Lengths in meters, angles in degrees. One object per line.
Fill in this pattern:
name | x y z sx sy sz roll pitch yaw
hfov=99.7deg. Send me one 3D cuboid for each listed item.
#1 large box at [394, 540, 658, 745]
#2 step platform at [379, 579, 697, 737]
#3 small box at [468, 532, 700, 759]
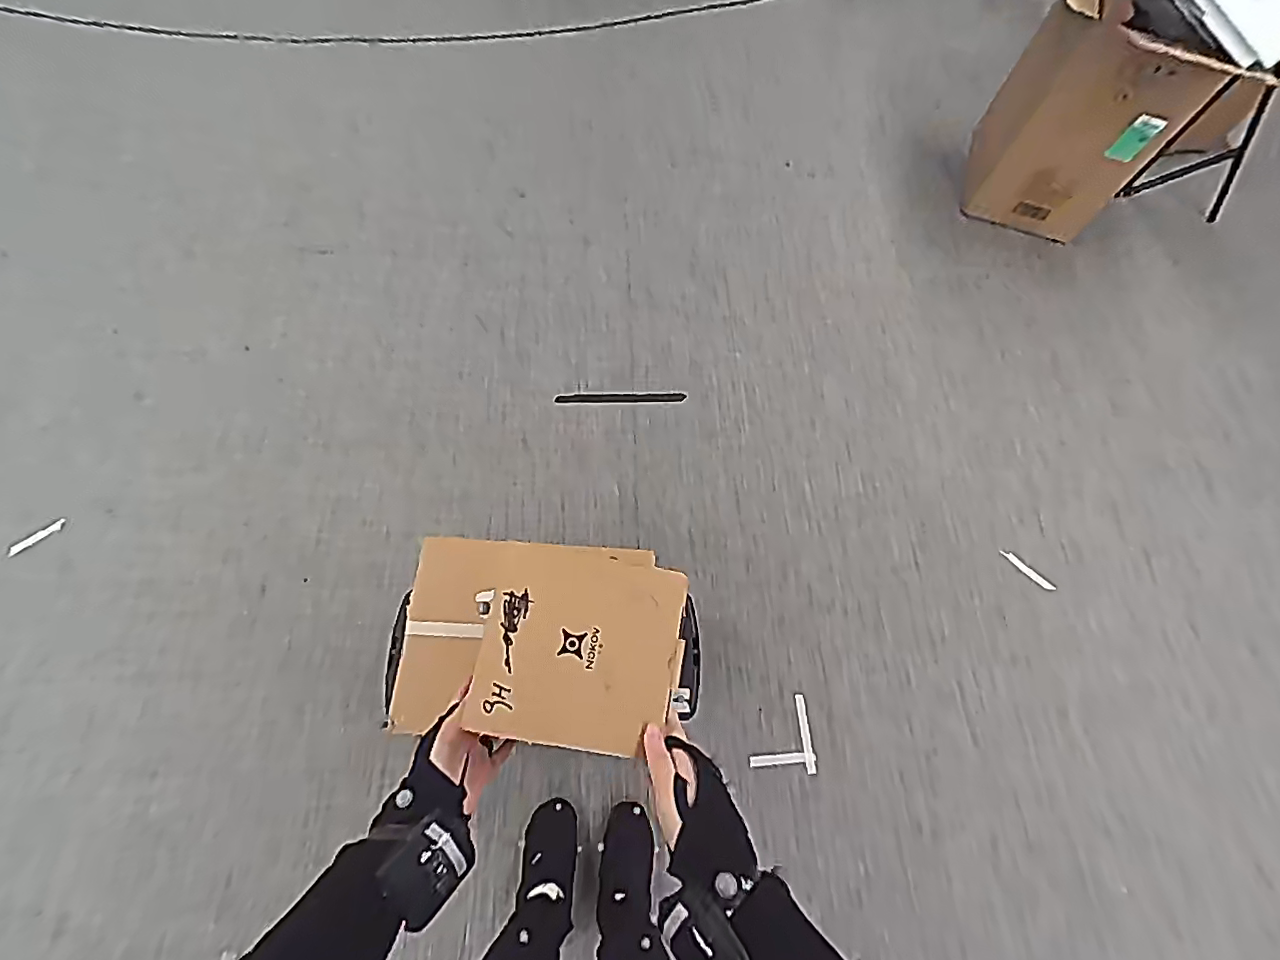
large box | -0.174 0.310 1.016 0.408 0.320 0.320 3 66 -1
step platform | -0.213 0.405 1.232 0.684 0.204 0.286 5 67 0
small box | -0.053 0.162 0.545 0.179 0.176 0.168 12 72 -4
